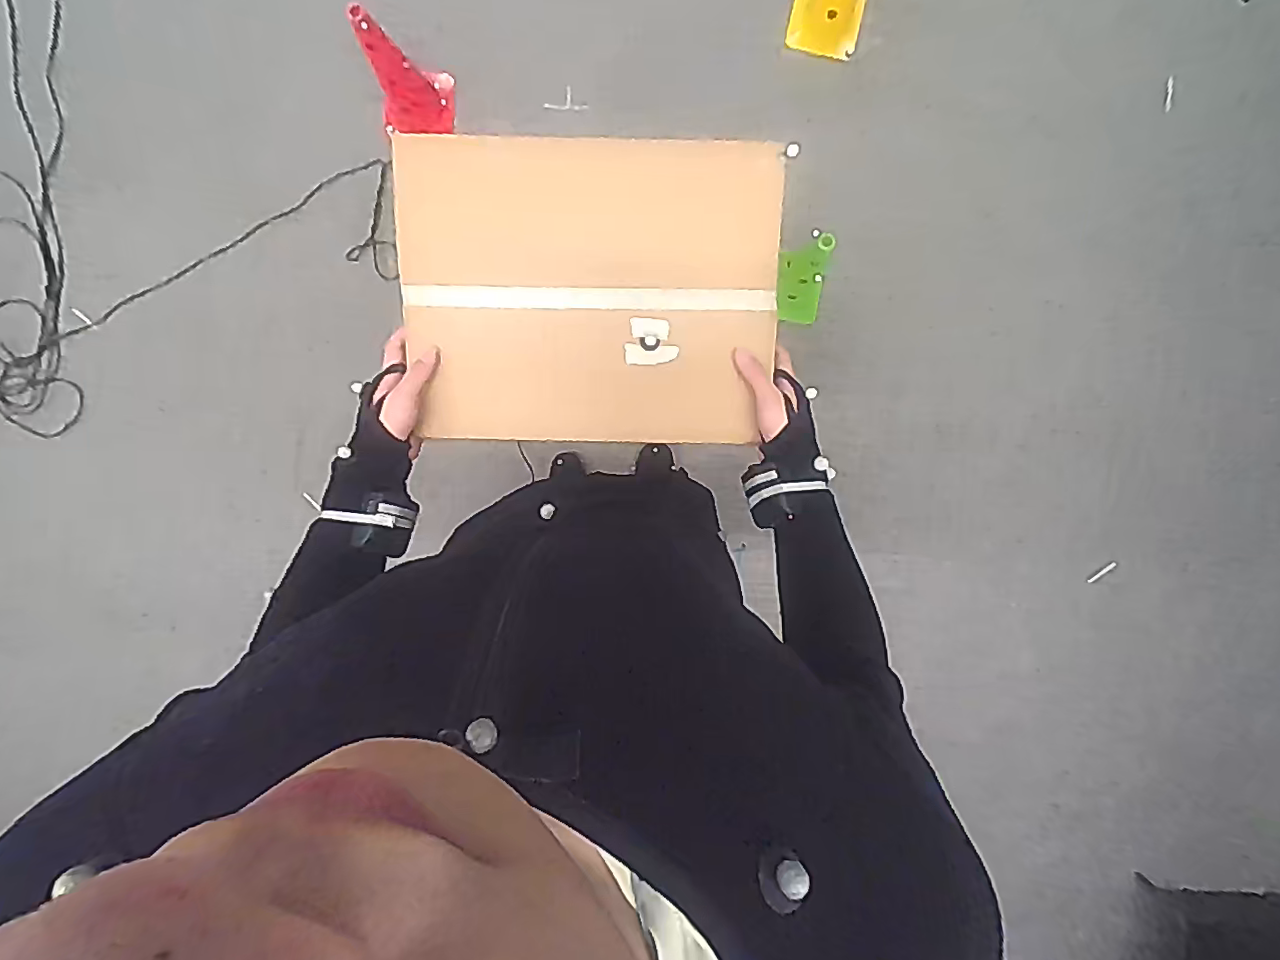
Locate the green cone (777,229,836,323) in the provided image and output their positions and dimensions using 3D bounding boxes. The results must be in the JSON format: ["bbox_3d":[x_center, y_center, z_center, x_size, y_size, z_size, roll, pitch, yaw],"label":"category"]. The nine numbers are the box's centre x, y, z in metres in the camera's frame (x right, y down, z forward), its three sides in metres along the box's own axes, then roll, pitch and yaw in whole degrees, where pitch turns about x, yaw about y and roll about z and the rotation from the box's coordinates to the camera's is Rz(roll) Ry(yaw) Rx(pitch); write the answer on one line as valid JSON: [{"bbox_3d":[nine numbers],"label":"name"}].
[{"bbox_3d":[0.435,-0.565,1.428,0.200,0.368,0.202,9,93,-1],"label":"green cone"}]

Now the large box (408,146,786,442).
[{"bbox_3d":[-0.049,-0.226,0.740,0.408,0.320,0.320,1,103,-1],"label":"large box"}]
